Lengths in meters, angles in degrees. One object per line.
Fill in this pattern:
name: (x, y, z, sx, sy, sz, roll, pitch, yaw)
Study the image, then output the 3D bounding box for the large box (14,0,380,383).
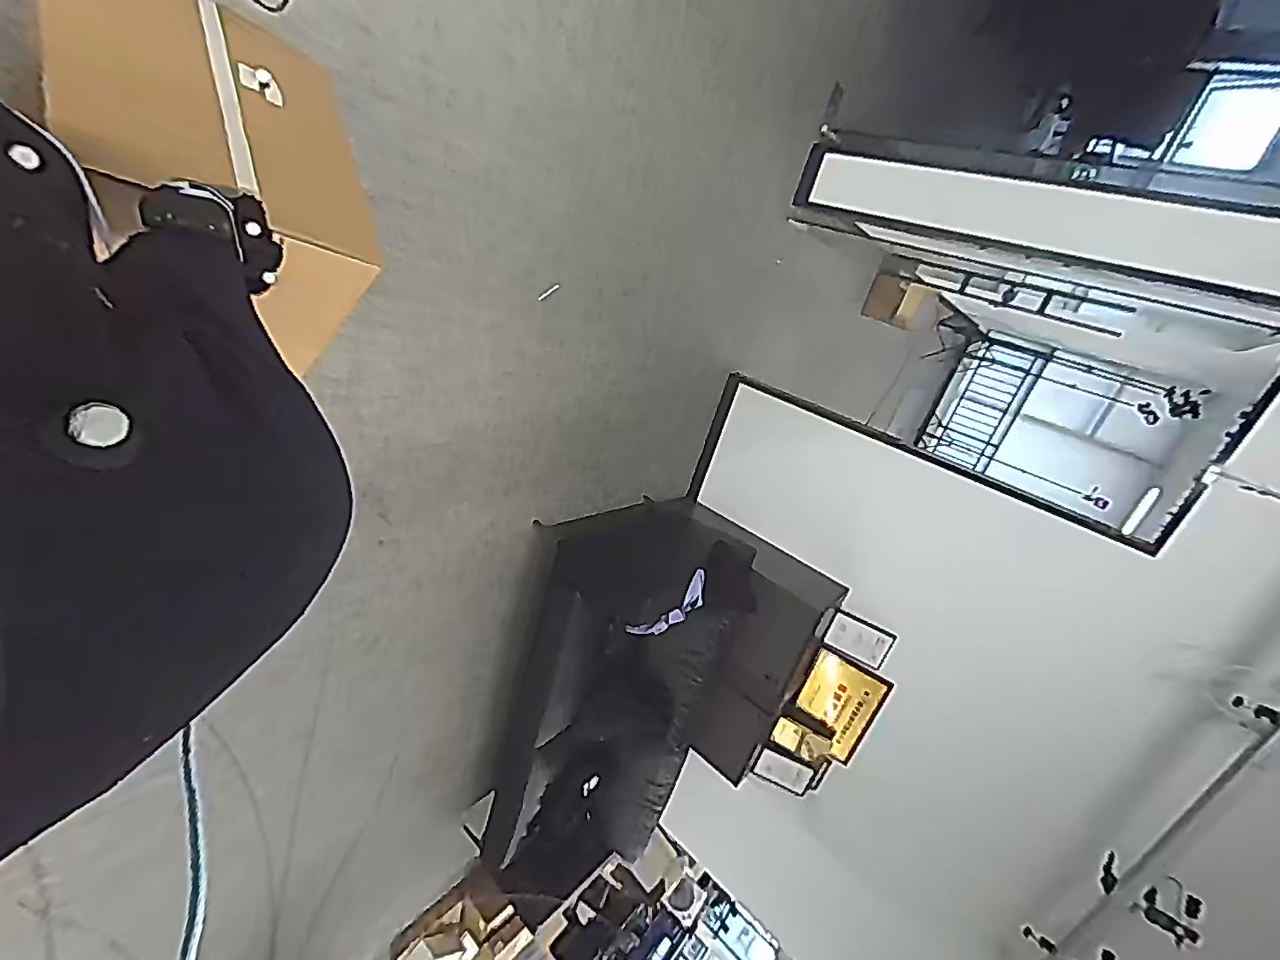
large box: (-0.631, -0.399, 0.765, 0.320, 0.408, 0.320, -32, 162, 31)
